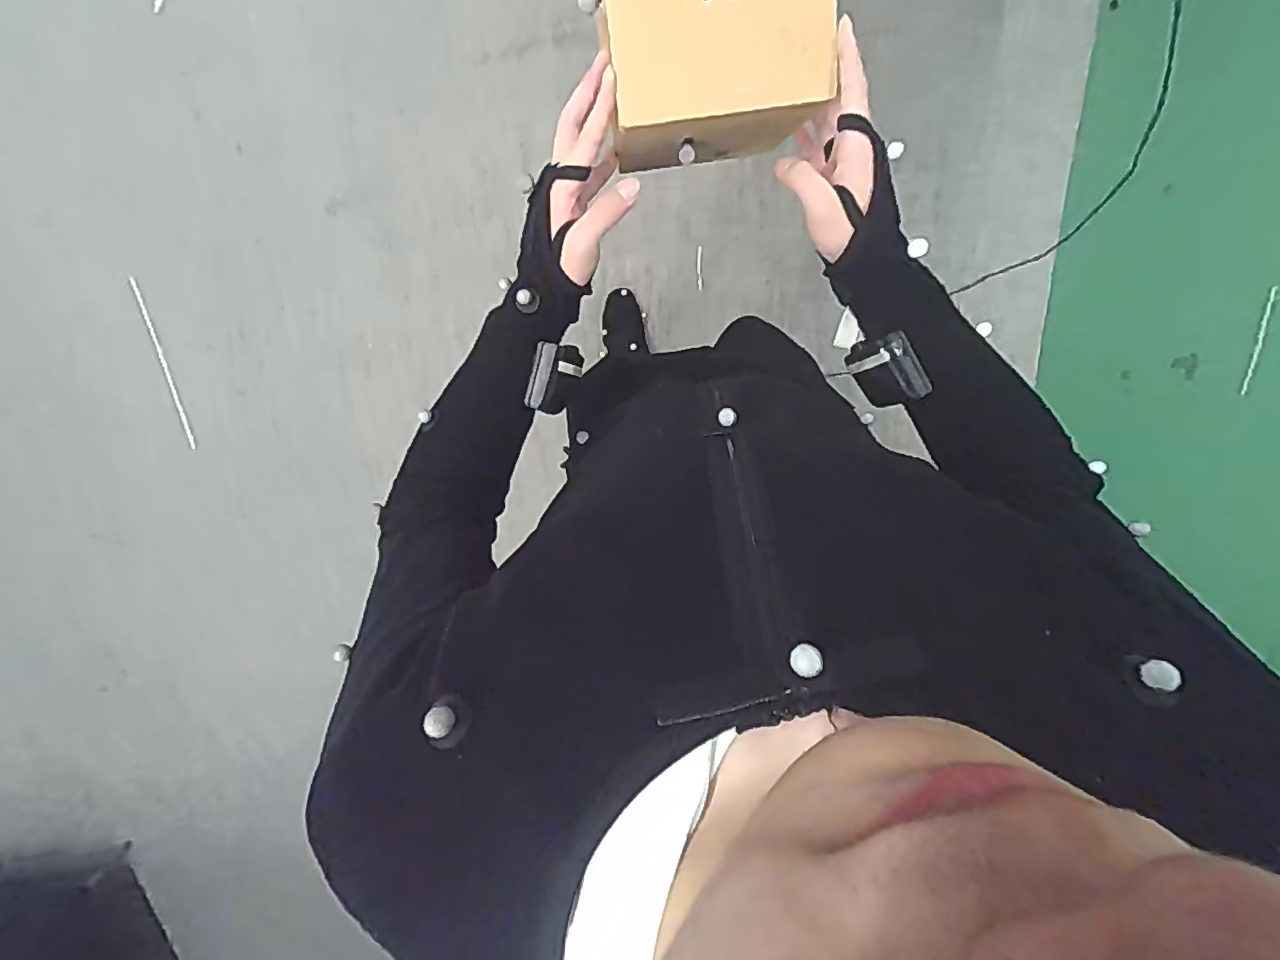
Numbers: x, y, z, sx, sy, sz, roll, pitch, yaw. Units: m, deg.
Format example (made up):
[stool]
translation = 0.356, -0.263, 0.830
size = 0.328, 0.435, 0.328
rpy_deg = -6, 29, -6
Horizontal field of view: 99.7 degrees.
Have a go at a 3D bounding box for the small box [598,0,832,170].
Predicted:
[small box]
translation = 0.051, -0.378, 0.454
size = 0.168, 0.176, 0.179
rpy_deg = -7, 108, 0
